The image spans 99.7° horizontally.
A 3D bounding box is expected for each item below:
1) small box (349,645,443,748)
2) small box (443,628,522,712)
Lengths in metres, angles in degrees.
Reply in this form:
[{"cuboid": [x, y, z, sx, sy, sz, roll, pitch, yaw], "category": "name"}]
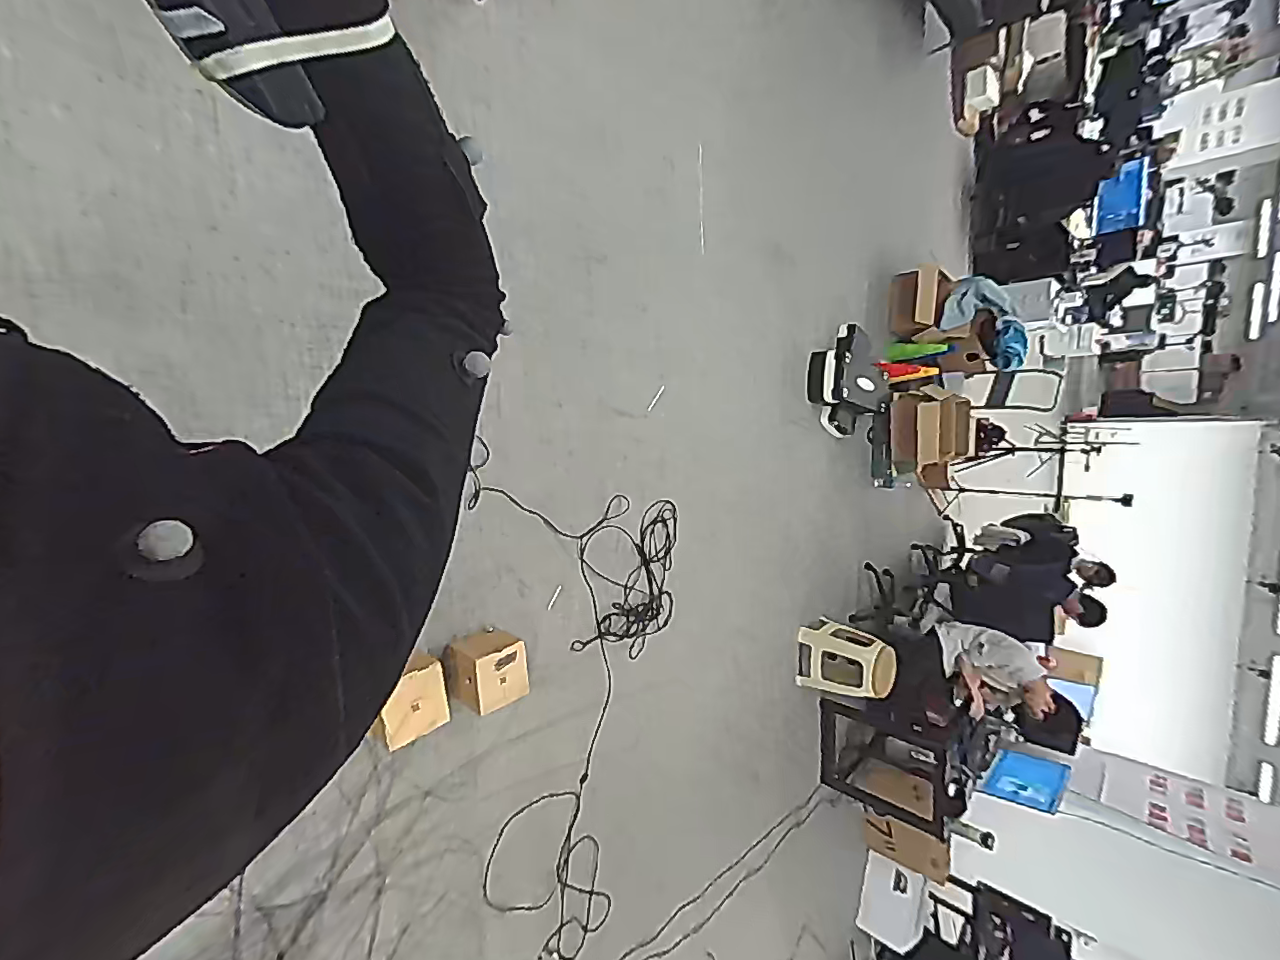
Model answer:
[{"cuboid": [-0.655, 0.570, 1.449, 0.168, 0.176, 0.179, -16, 104, -45], "category": "small box"}, {"cuboid": [-0.478, 0.562, 1.633, 0.168, 0.176, 0.179, -12, 103, -45], "category": "small box"}]
